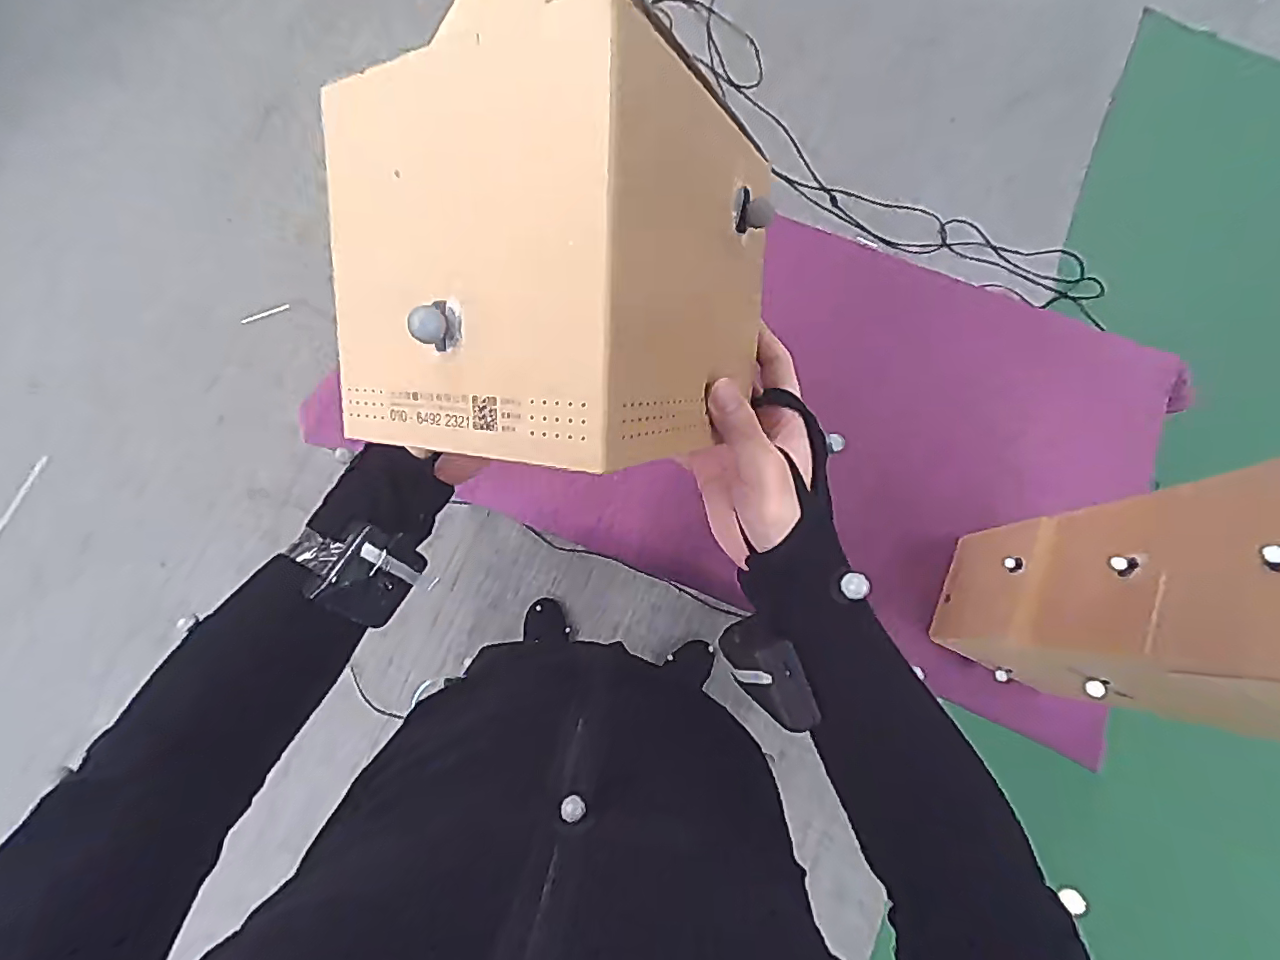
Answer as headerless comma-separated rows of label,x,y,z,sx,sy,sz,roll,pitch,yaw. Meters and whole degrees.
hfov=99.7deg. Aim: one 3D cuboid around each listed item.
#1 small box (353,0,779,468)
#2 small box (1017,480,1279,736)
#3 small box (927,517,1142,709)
small box,-0.034,-0.108,0.308,0.168,0.179,0.176,9,104,30
small box,0.529,0.127,0.546,0.168,0.176,0.179,25,78,6
small box,0.520,0.167,0.703,0.179,0.176,0.168,26,77,4
